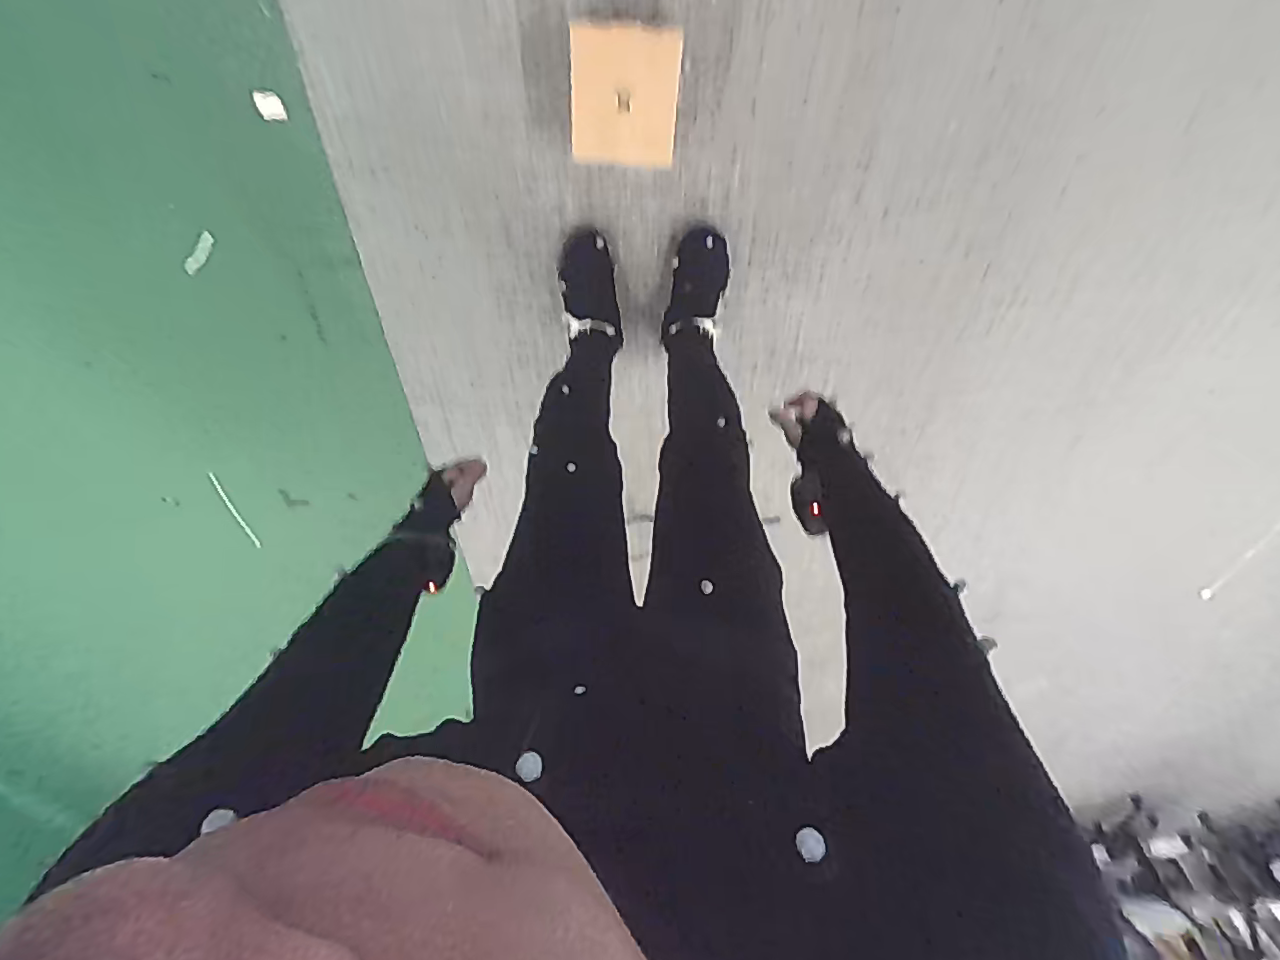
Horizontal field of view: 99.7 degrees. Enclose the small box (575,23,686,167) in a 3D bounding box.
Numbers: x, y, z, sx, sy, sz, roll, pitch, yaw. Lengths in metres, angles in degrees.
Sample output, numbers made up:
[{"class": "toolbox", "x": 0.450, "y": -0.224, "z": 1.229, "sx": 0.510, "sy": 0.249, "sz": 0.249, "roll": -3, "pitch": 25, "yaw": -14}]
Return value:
[{"class": "small box", "x": -0.016, "y": -0.641, "z": 0.900, "sx": 0.168, "sy": 0.176, "sz": 0.179, "roll": 3, "pitch": 129, "yaw": -1}]
